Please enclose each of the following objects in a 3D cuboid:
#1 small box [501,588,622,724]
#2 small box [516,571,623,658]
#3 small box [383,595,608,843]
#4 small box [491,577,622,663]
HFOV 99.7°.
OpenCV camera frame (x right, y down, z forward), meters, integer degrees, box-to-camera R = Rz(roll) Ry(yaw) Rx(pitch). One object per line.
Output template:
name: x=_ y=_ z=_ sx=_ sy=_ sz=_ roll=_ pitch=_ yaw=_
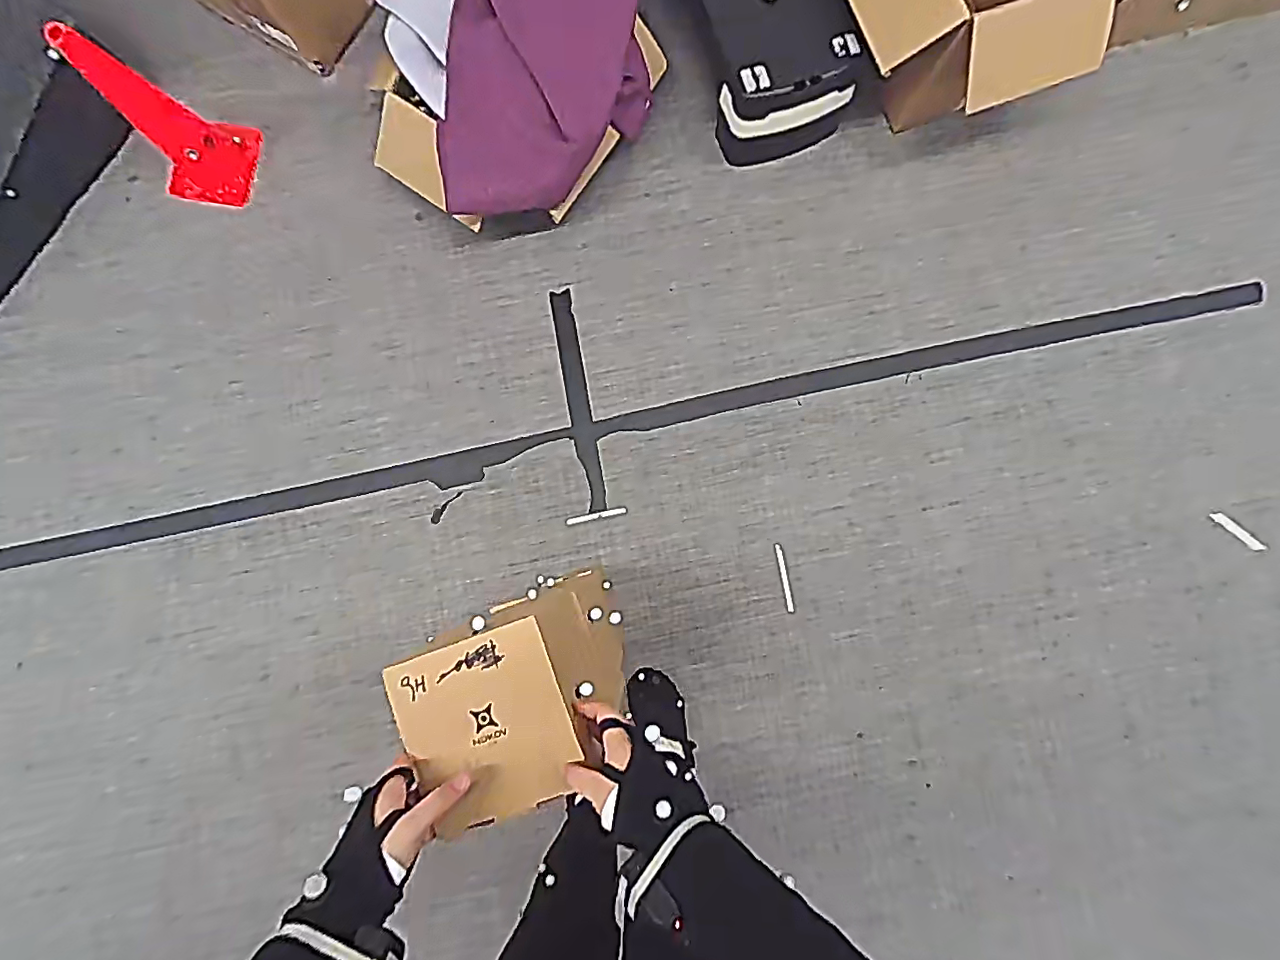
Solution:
small box: x=-0.131 y=0.265 z=0.790 sx=0.168 sy=0.176 sz=0.179 roll=-20 pitch=85 yaw=0
small box: x=-0.139 y=0.295 z=1.119 sx=0.168 sy=0.176 sz=0.179 roll=-19 pitch=86 yaw=0
small box: x=-0.143 y=0.246 z=0.601 sx=0.168 sy=0.176 sz=0.179 roll=-20 pitch=87 yaw=2
small box: x=-0.137 y=0.277 z=0.955 sx=0.179 sy=0.176 sz=0.168 roll=-16 pitch=85 yaw=0
